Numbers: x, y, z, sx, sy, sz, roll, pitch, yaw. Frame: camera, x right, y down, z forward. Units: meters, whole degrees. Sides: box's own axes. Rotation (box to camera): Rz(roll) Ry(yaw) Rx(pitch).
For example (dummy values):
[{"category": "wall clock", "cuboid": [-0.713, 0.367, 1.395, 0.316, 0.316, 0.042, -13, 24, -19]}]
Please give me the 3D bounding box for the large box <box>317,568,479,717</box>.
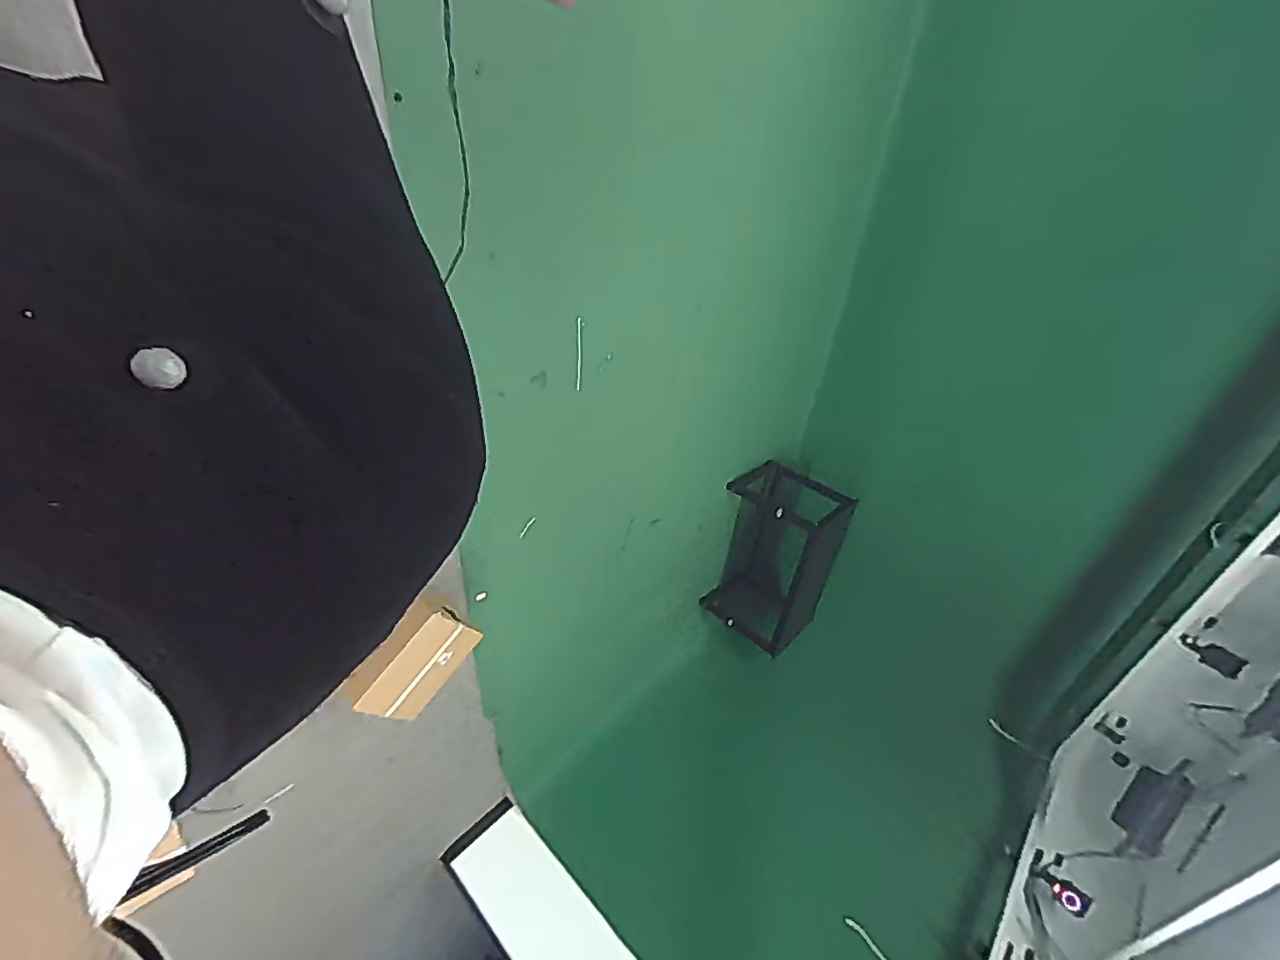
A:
[{"category": "large box", "cuboid": [-0.905, 0.612, 2.038, 0.408, 0.320, 0.320, -52, 148, -12]}]
